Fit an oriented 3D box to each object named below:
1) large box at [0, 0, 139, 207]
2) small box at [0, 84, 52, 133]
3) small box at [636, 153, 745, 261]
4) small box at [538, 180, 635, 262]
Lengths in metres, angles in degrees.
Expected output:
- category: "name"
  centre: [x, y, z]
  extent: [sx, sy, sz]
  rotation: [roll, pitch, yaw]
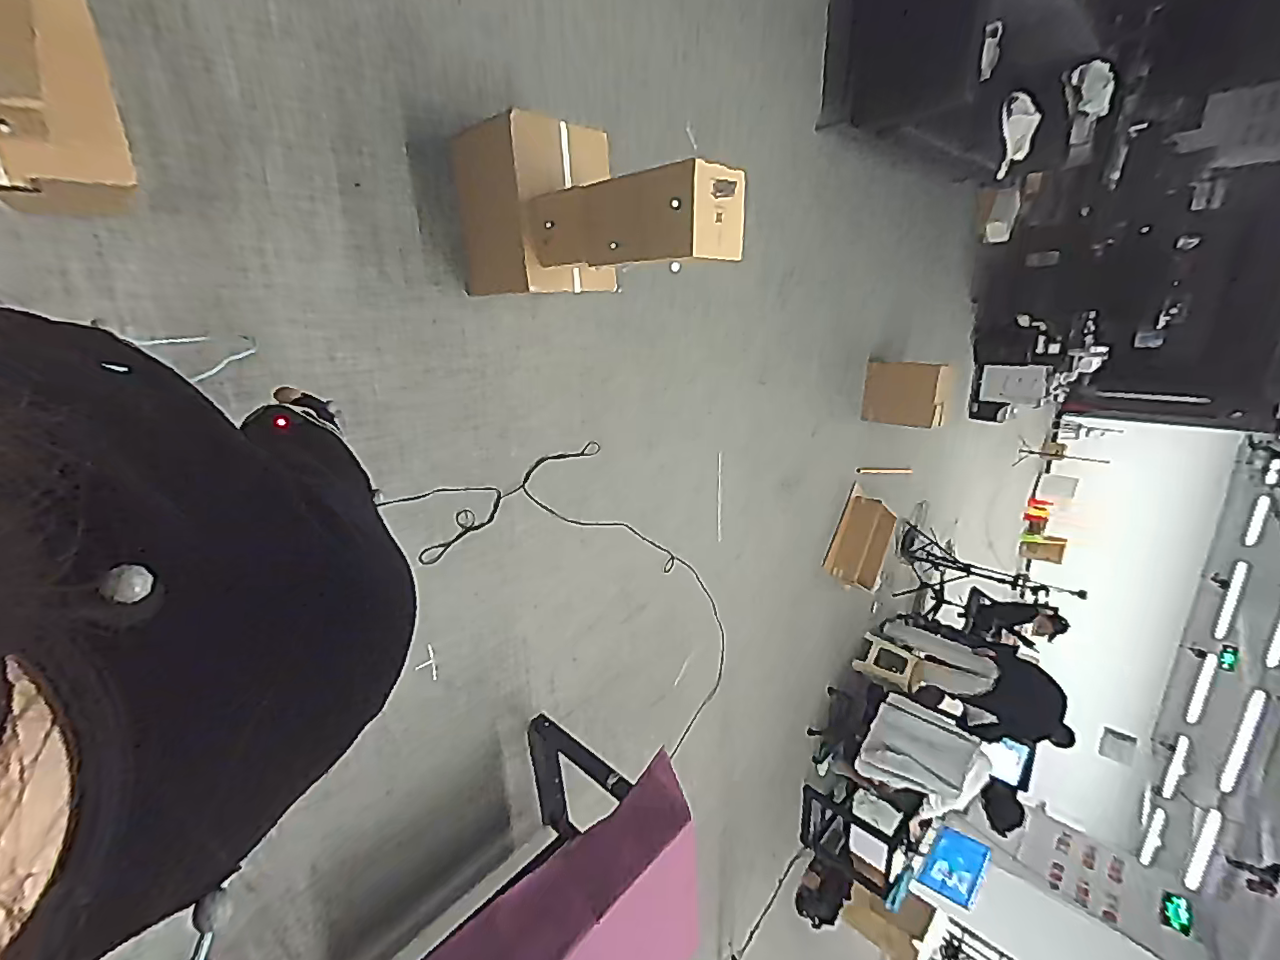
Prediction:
- category: "large box"
  centre: [-1.012, -0.647, 0.791]
  extent: [0.320, 0.320, 0.408]
  rotation: [-20, 115, -42]
- category: "small box"
  centre: [-0.847, -0.529, 0.638]
  extent: [0.179, 0.176, 0.168]
  rotation: [-21, 115, -40]
- category: "small box"
  centre: [0.105, -0.568, 1.148]
  extent: [0.168, 0.176, 0.179]
  rotation: [-18, 116, -42]
- category: "small box"
  centre: [-0.133, -0.645, 1.363]
  extent: [0.179, 0.176, 0.168]
  rotation: [-21, 117, -40]
